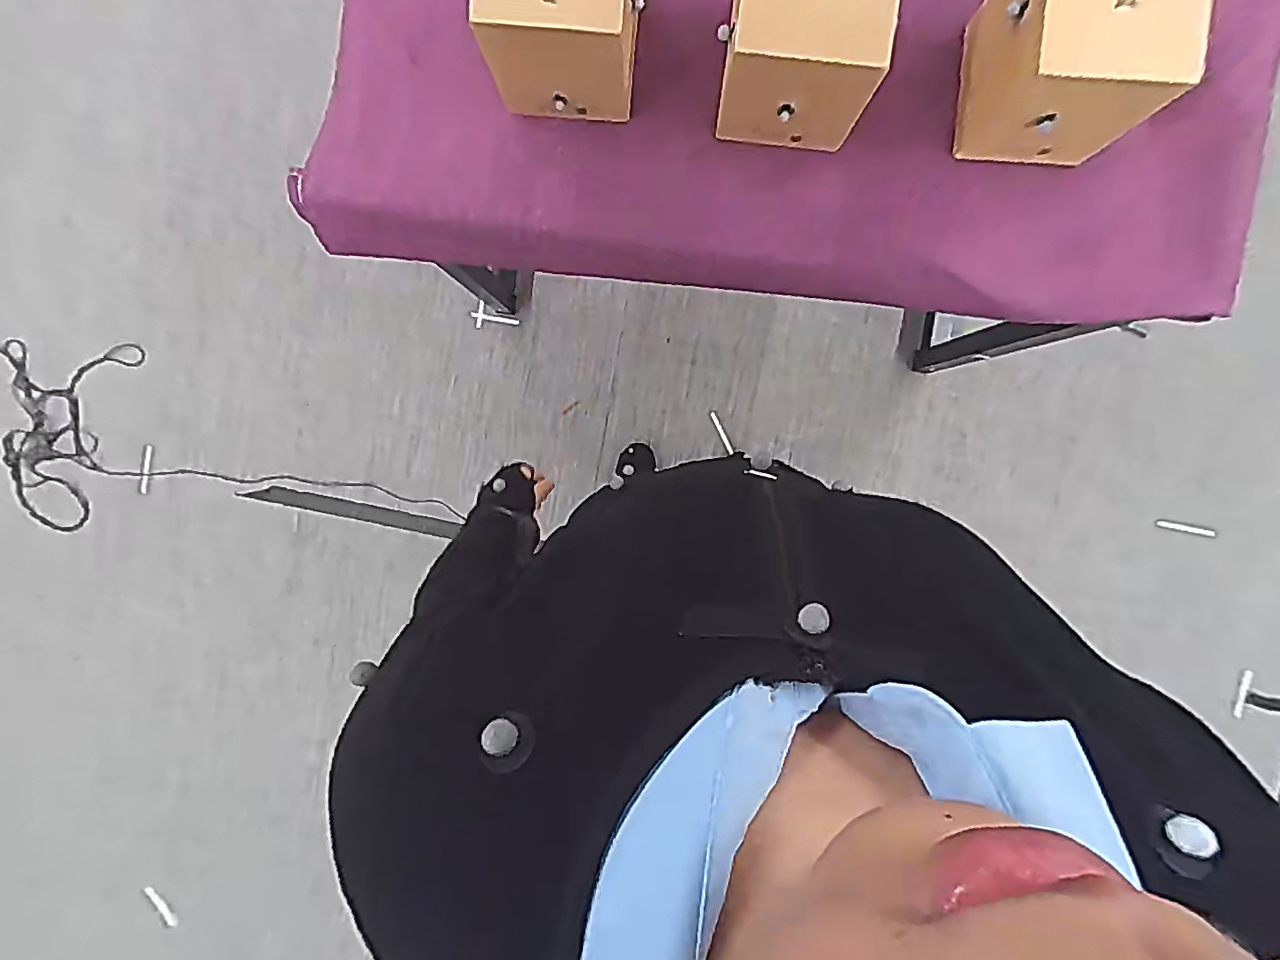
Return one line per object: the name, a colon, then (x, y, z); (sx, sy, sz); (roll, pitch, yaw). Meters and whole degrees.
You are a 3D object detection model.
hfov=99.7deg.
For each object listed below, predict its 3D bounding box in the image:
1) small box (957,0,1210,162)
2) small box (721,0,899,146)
small box: (0.503, -0.505, 0.635); (0.168, 0.176, 0.179); (5, 92, 2)
small box: (0.195, -0.533, 0.641); (0.168, 0.176, 0.179); (8, 94, 0)
